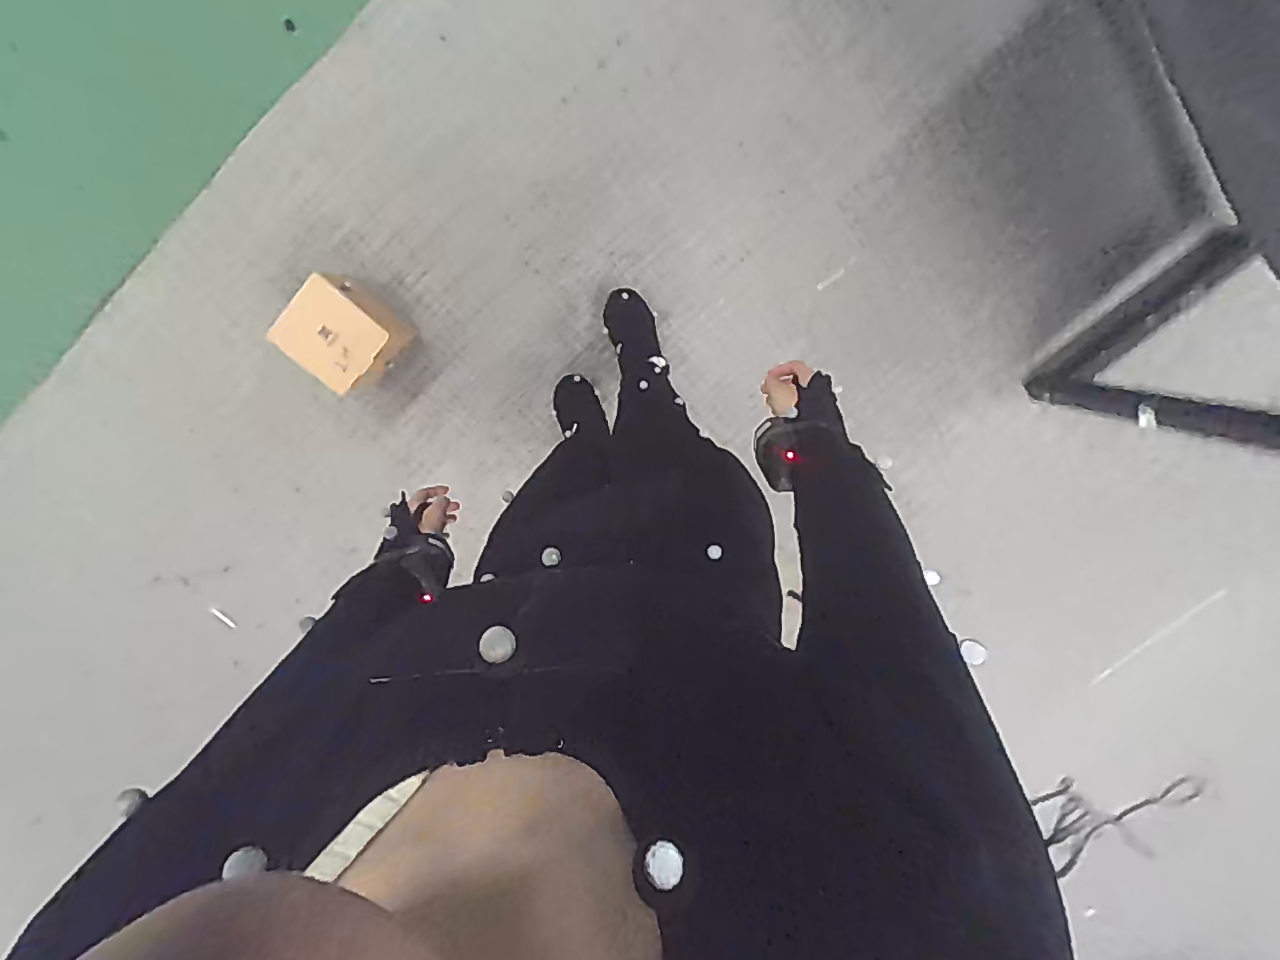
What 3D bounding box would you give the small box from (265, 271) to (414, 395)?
[{"bbox_3d":[-0.608,-0.302,1.116,0.179,0.176,0.168,41,101,-15],"label":"small box"}]
